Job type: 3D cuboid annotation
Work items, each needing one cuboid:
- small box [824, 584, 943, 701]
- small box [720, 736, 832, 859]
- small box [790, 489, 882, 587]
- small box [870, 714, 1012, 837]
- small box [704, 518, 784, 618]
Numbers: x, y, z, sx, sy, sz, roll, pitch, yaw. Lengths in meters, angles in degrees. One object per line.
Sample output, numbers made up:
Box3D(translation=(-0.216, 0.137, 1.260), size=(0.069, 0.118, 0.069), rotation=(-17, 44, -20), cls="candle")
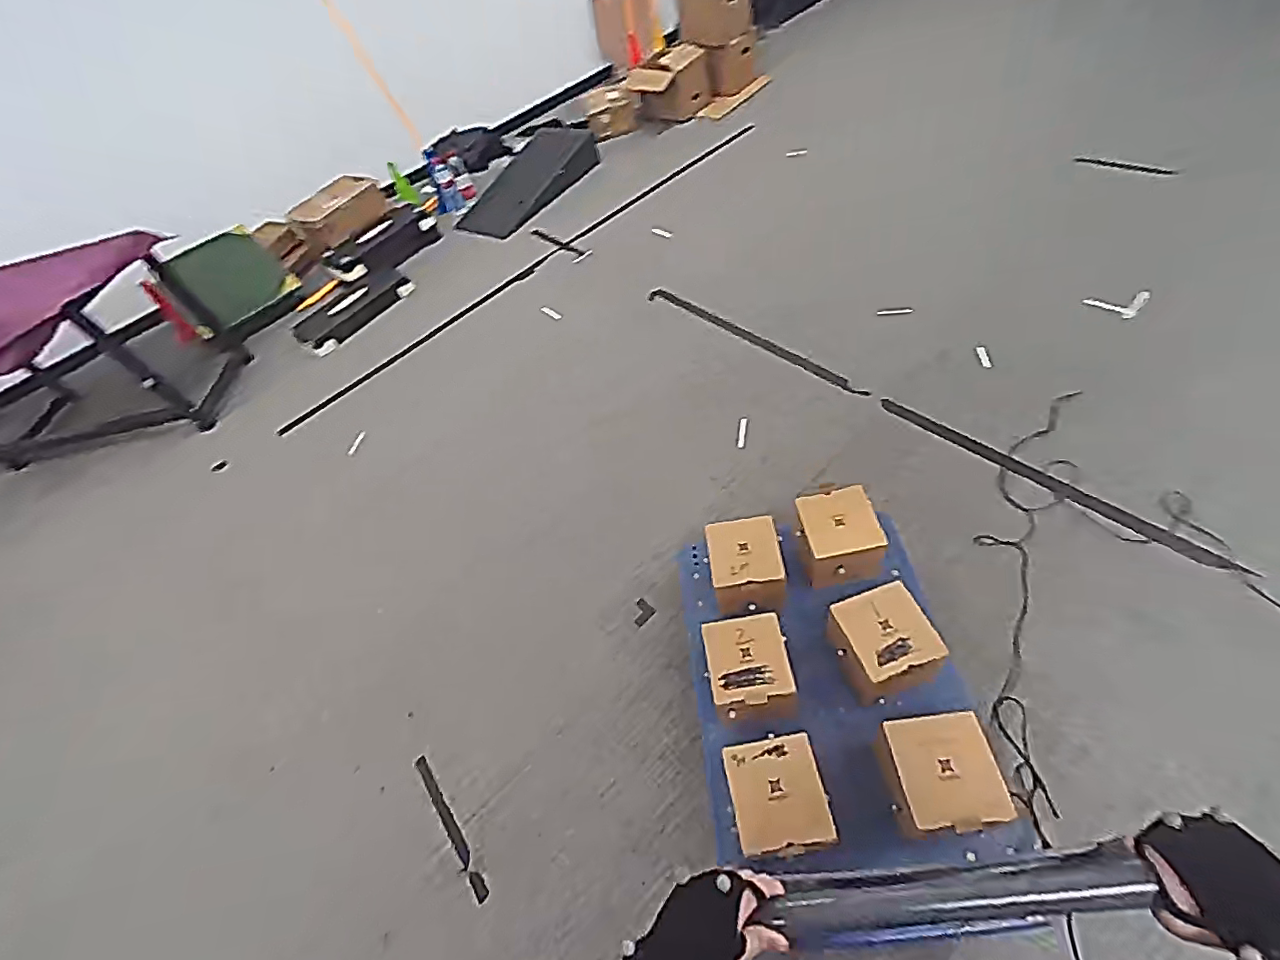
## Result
Box3D(translation=(0.517, 0.360, 1.175), size=(0.168, 0.176, 0.179), rotation=(-20, 50, -1), cls="small box")
Box3D(translation=(0.258, 0.616, 1.043), size=(0.168, 0.176, 0.179), rotation=(-13, 51, 4), cls="small box")
Box3D(translation=(0.480, 0.152, 1.347), size=(0.168, 0.176, 0.179), rotation=(-13, 51, 5), cls="small box")
Box3D(translation=(0.549, 0.559, 1.013), size=(0.168, 0.176, 0.179), rotation=(-10, 50, 6), cls="small box")
Box3D(translation=(0.257, 0.221, 1.347), size=(0.168, 0.176, 0.179), rotation=(-10, 51, 8), cls="small box")
